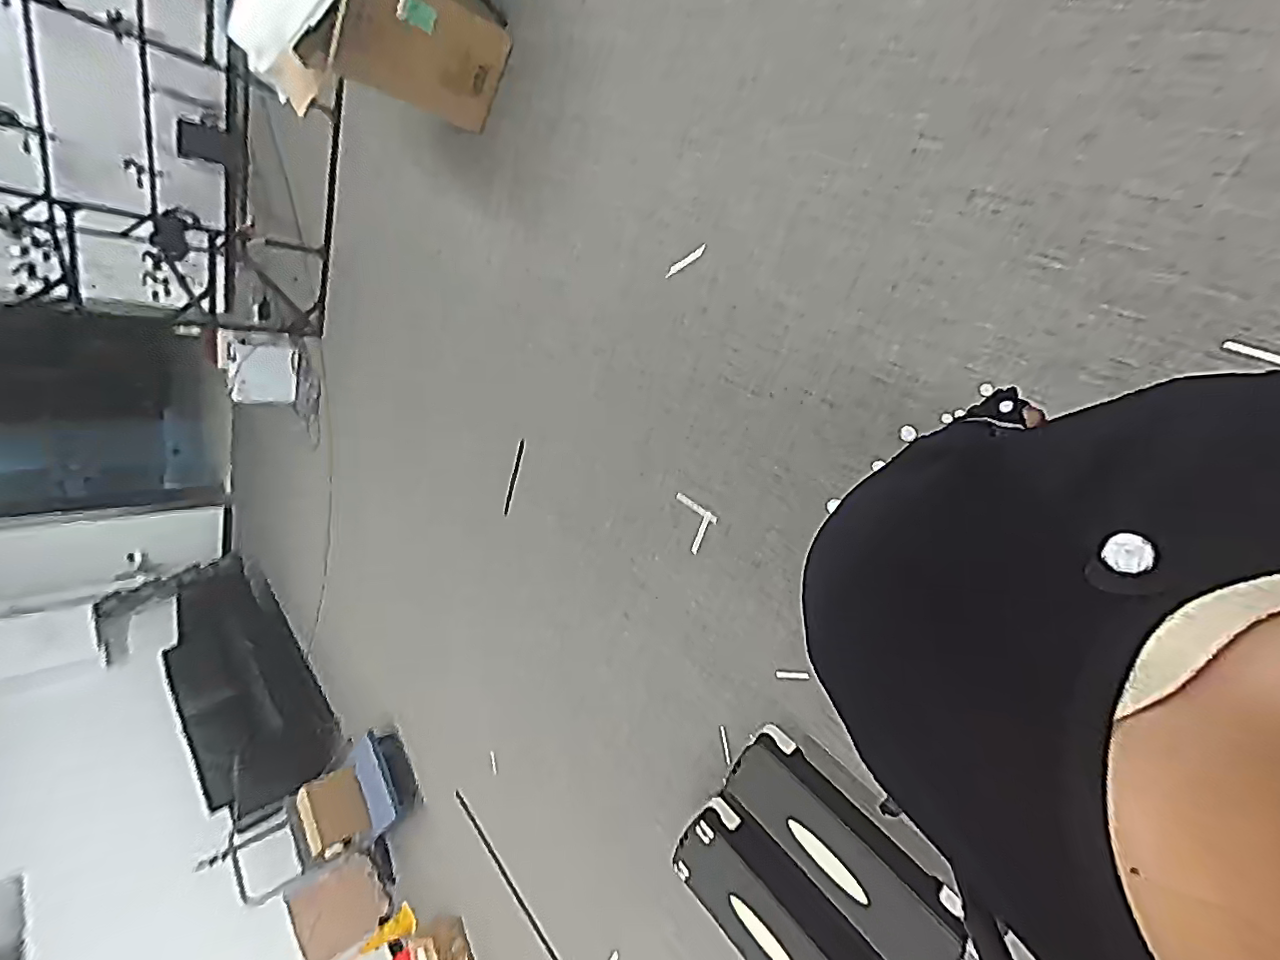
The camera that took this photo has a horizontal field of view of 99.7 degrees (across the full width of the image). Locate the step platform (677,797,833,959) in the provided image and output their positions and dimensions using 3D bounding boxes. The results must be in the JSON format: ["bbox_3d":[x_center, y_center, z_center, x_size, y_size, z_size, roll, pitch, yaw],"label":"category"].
[{"bbox_3d":[0.414,1.315,1.560,0.684,0.204,0.286,44,121,33],"label":"step platform"}]
